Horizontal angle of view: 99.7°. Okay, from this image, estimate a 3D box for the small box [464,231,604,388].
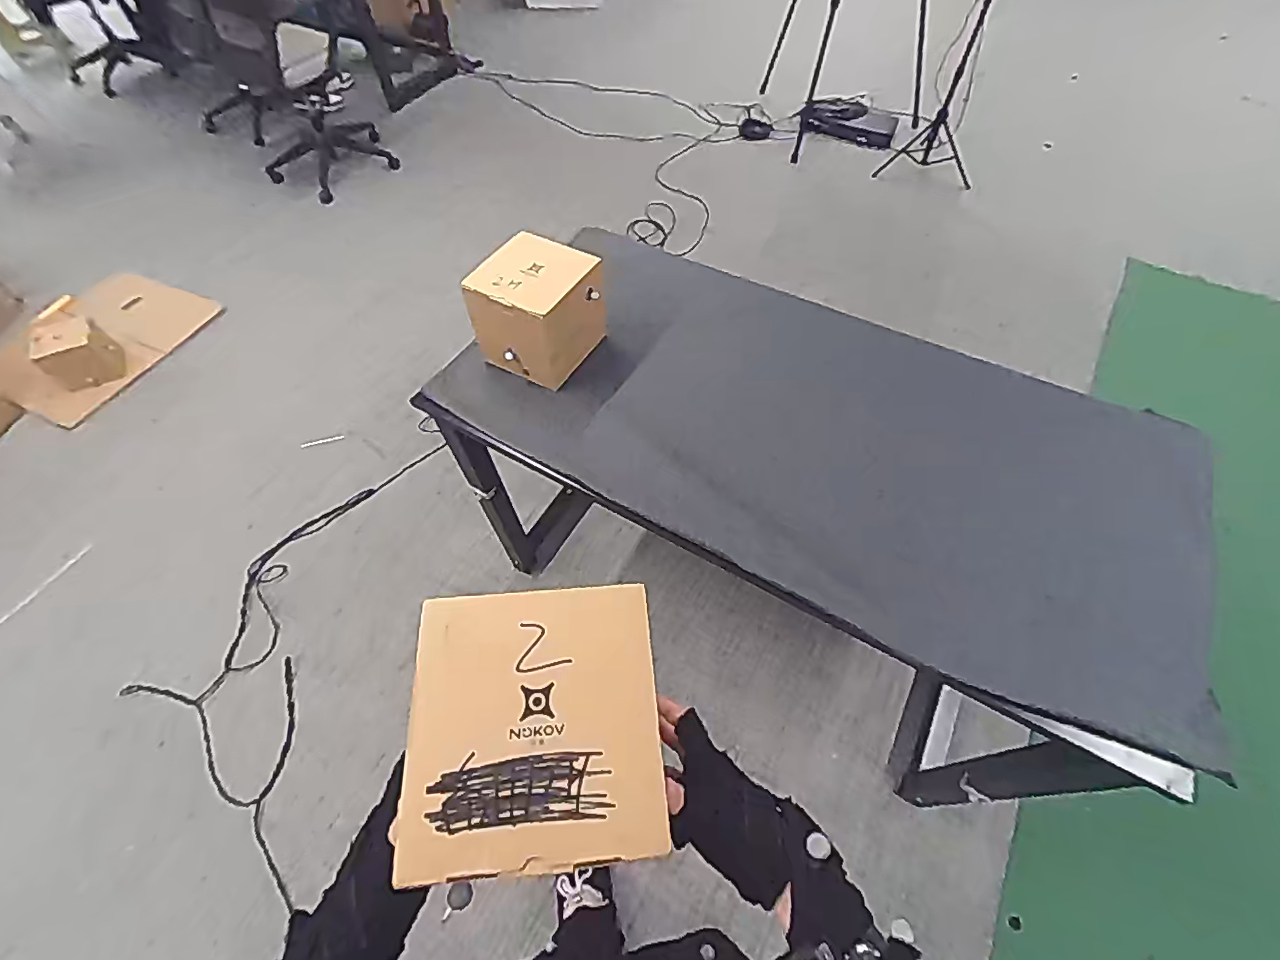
[{"bbox_3d":[-0.176,-0.297,0.953,0.168,0.176,0.179,25,59,15],"label":"small box"}]
